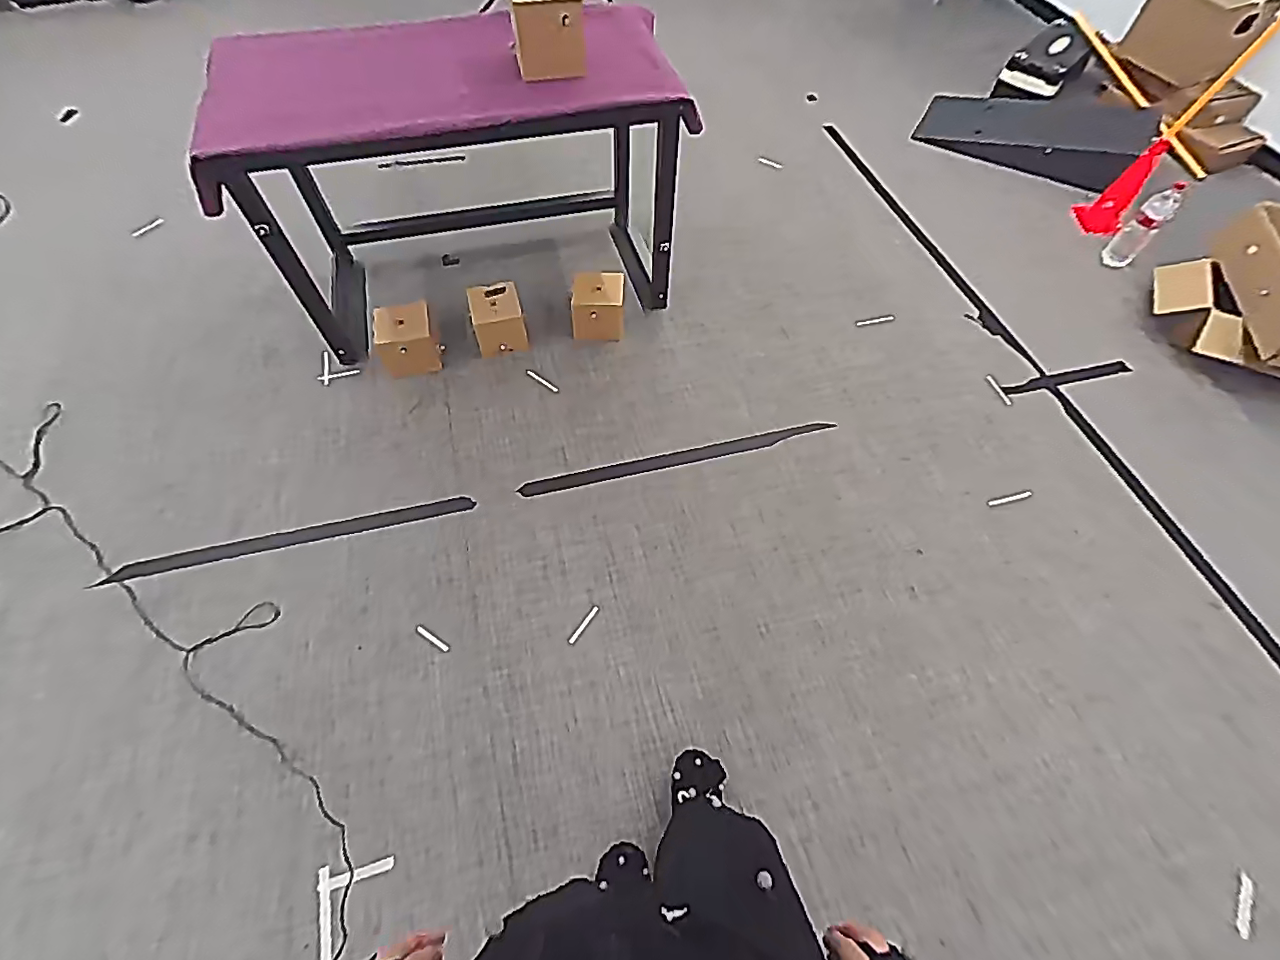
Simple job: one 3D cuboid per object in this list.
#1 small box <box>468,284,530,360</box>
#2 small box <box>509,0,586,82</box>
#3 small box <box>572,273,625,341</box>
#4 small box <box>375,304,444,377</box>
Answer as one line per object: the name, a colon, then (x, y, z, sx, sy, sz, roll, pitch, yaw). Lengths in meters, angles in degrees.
small box: (-0.491, -0.552, 1.893, 0.168, 0.176, 0.179, -14, 62, -9)
small box: (-0.241, -1.184, 1.422, 0.179, 0.176, 0.168, -12, 60, -7)
small box: (-0.143, -0.616, 1.939, 0.179, 0.176, 0.168, 1, 60, 1)
small box: (-0.781, -0.468, 1.840, 0.179, 0.176, 0.168, -10, 61, -8)
